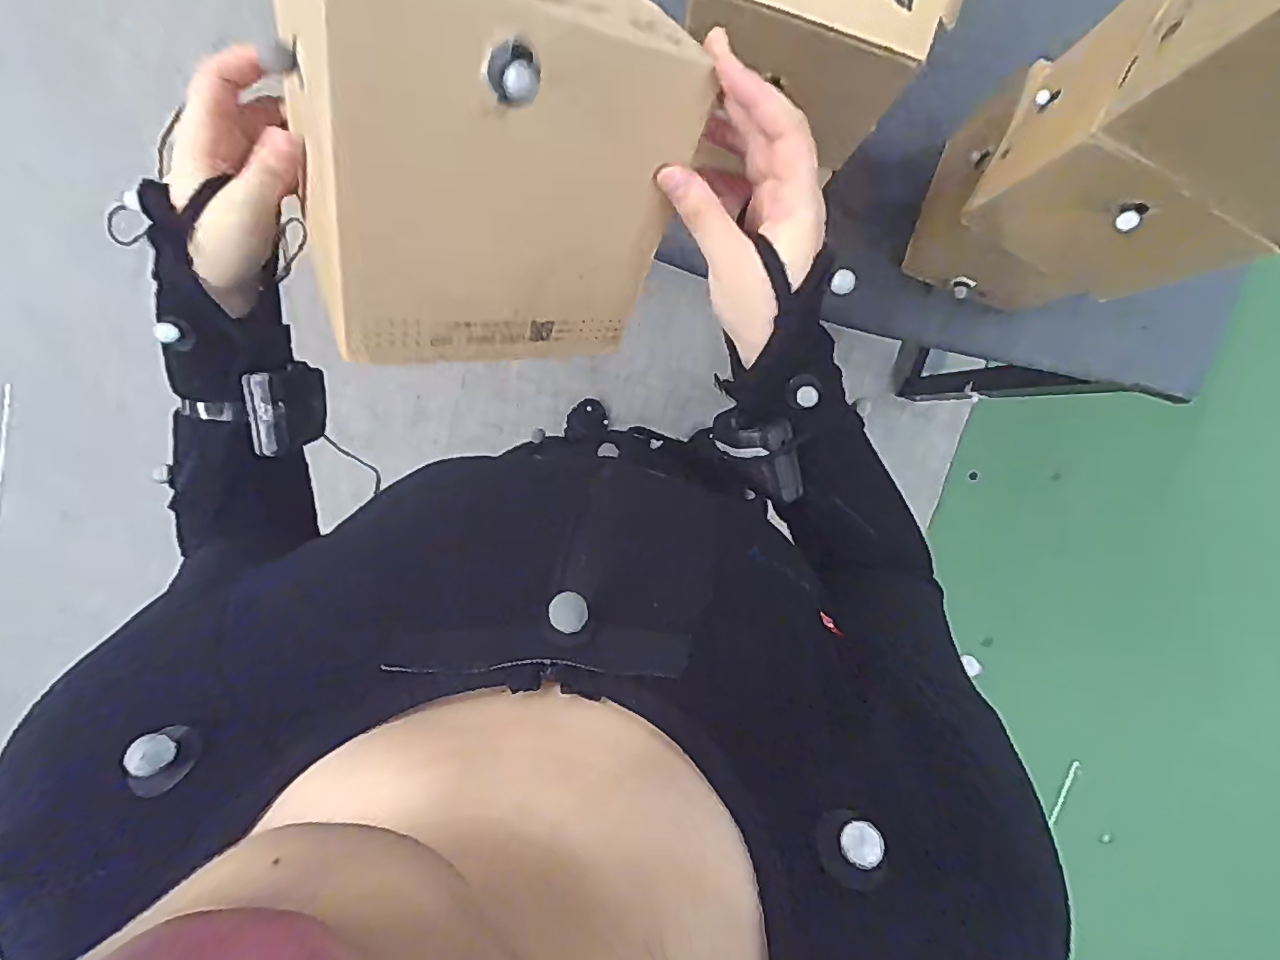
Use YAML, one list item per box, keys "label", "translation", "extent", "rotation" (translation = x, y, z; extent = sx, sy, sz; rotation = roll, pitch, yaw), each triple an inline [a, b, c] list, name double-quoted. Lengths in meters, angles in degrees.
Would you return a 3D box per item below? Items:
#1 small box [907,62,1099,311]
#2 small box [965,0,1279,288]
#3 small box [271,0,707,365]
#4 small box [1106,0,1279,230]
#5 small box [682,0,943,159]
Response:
- label: "small box"
  translation: [0.442, -0.317, 0.624]
  extent: [0.168, 0.176, 0.179]
  rotation: [18, 97, -1]
- label: "small box"
  translation: [0.436, -0.286, 0.464]
  extent: [0.179, 0.176, 0.168]
  rotation: [29, 96, -1]
- label: "small box"
  translation: [-0.099, -0.188, 0.305]
  extent: [0.168, 0.176, 0.179]
  rotation: [-13, 58, -30]
- label: "small box"
  translation: [0.437, -0.269, 0.300]
  extent: [0.179, 0.176, 0.168]
  rotation: [31, 95, -1]
- label: "small box"
  translation: [0.140, -0.404, 0.450]
  extent: [0.179, 0.176, 0.168]
  rotation: [18, 96, -1]
